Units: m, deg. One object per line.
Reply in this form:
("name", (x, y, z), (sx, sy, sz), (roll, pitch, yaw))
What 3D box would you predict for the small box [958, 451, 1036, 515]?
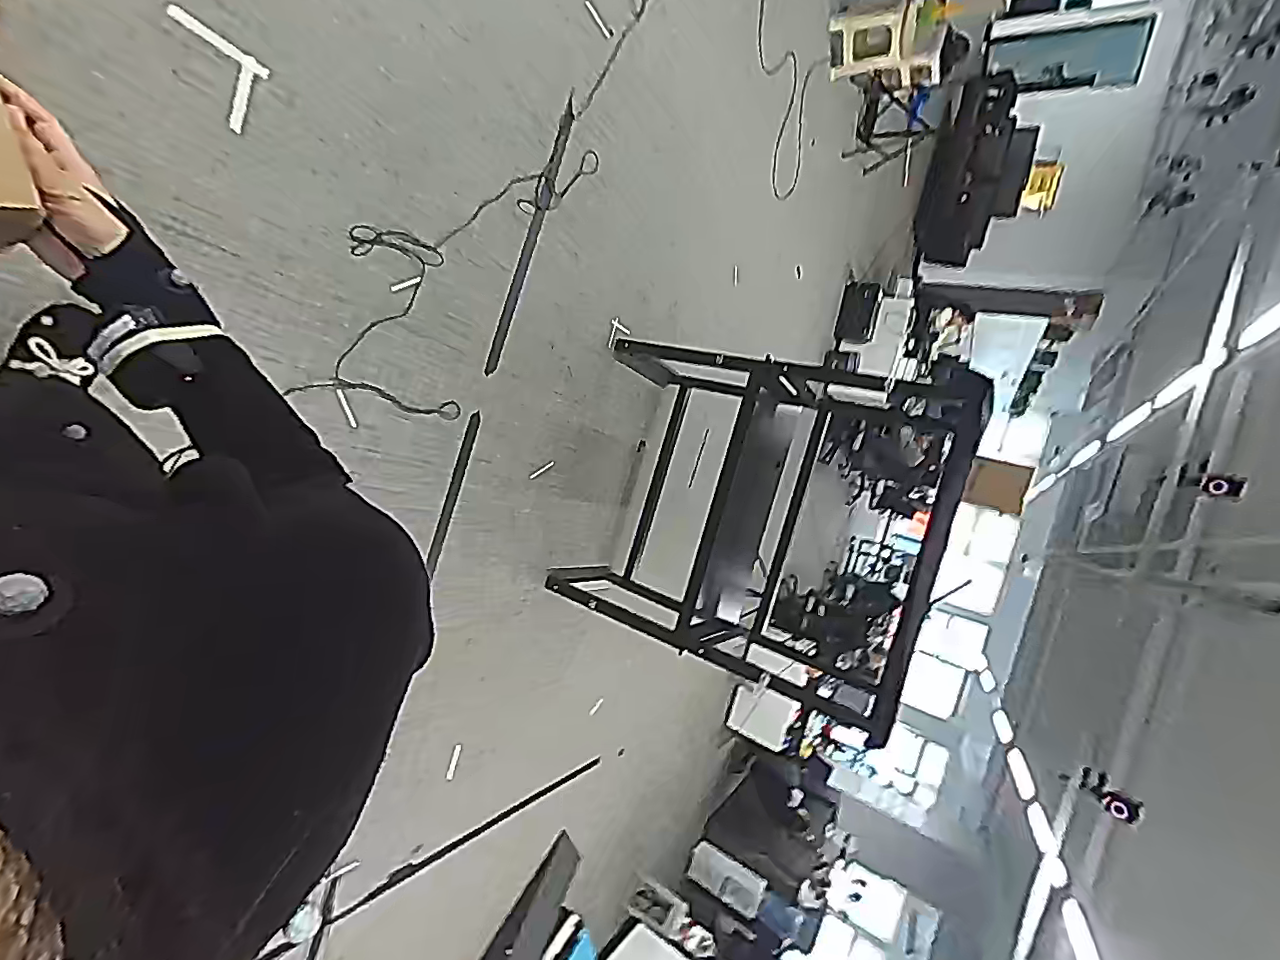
("small box", (1.156, 0.010, 1.764), (0.179, 0.176, 0.168), (9, 98, -62))
